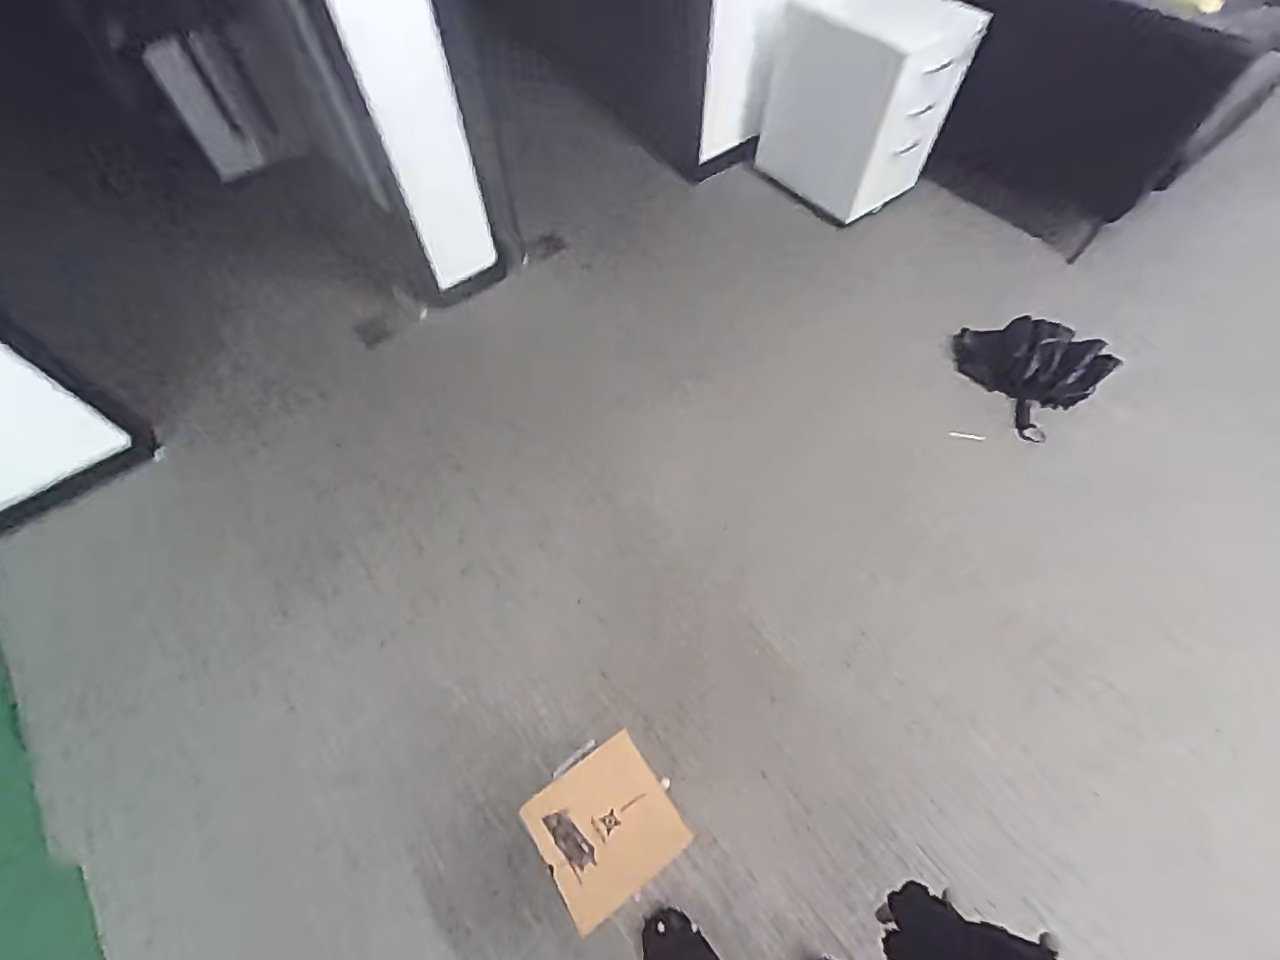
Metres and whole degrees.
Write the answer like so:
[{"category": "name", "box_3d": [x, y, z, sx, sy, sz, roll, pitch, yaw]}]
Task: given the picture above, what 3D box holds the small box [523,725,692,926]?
[{"category": "small box", "box_3d": [-0.041, 0.492, 0.788, 0.179, 0.176, 0.168, -32, 64, -16]}]
